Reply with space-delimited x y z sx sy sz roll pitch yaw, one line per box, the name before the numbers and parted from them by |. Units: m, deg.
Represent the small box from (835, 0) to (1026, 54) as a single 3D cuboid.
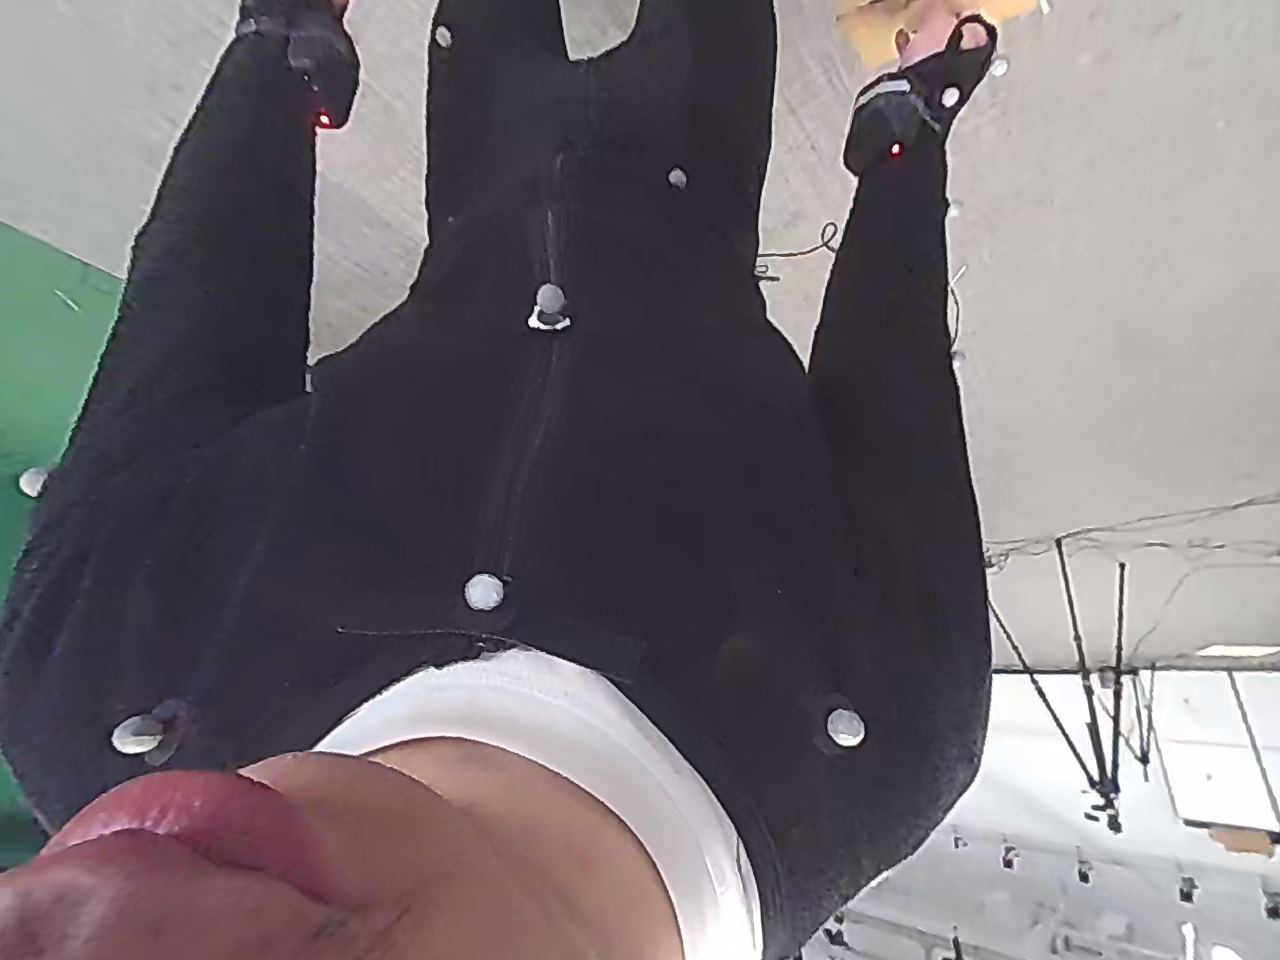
small box | 0.287 -0.549 0.517 0.168 0.179 0.176 -1 -162 37
